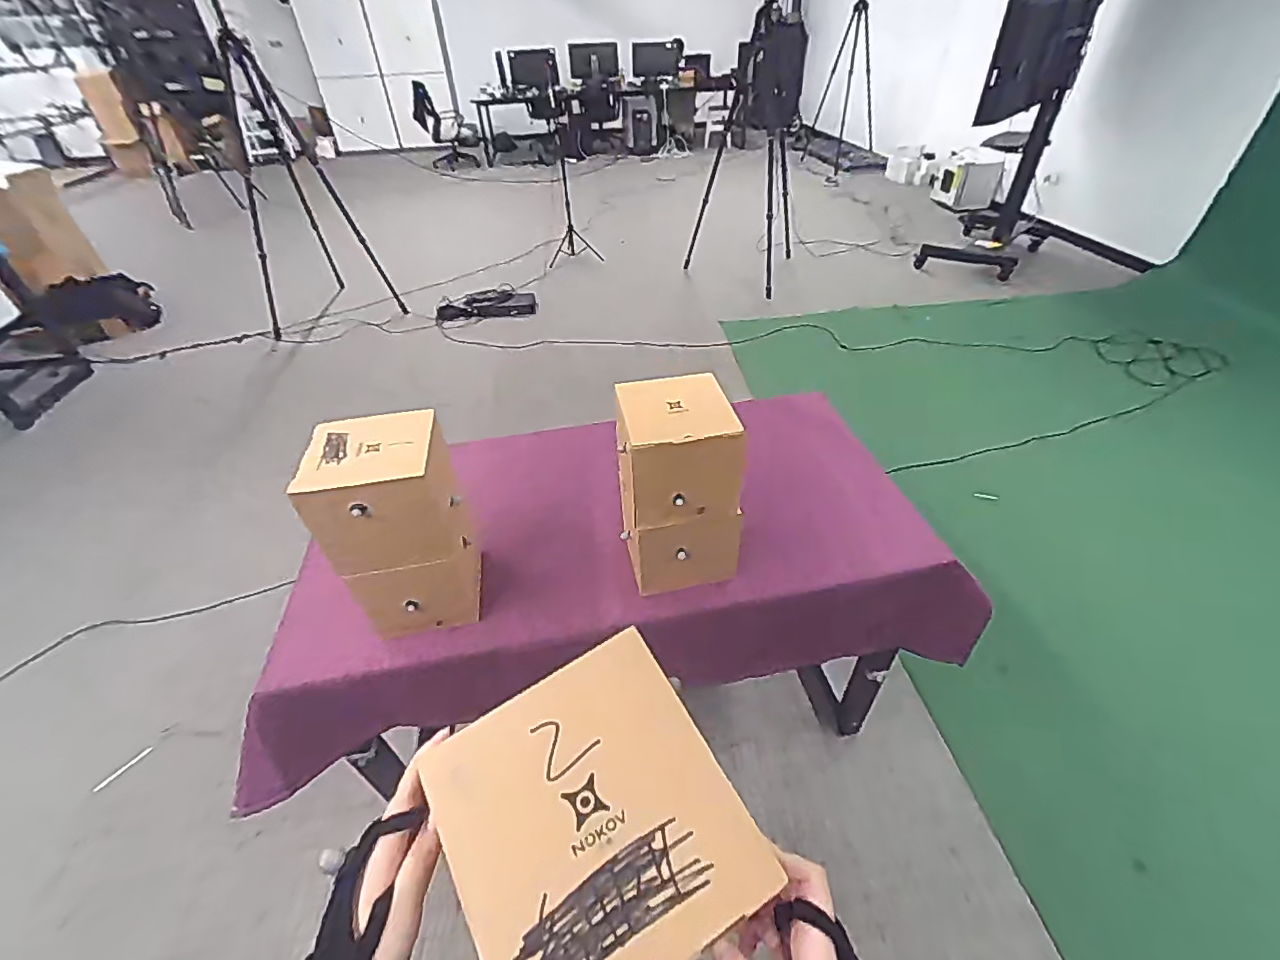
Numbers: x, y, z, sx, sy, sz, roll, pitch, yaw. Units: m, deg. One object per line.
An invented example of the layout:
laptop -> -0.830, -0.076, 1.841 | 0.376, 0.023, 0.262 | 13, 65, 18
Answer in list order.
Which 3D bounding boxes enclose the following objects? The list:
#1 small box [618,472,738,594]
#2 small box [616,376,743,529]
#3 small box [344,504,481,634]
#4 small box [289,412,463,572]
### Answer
small box -> 0.066, 0.083, 0.972 | 0.179, 0.176, 0.168 | -10, 41, -7
small box -> 0.055, -0.045, 0.871 | 0.168, 0.176, 0.179 | -8, 41, -6
small box -> -0.375, 0.145, 0.927 | 0.168, 0.176, 0.179 | -8, 40, -7
small box -> -0.382, 0.020, 0.819 | 0.179, 0.176, 0.168 | -8, 41, -7
